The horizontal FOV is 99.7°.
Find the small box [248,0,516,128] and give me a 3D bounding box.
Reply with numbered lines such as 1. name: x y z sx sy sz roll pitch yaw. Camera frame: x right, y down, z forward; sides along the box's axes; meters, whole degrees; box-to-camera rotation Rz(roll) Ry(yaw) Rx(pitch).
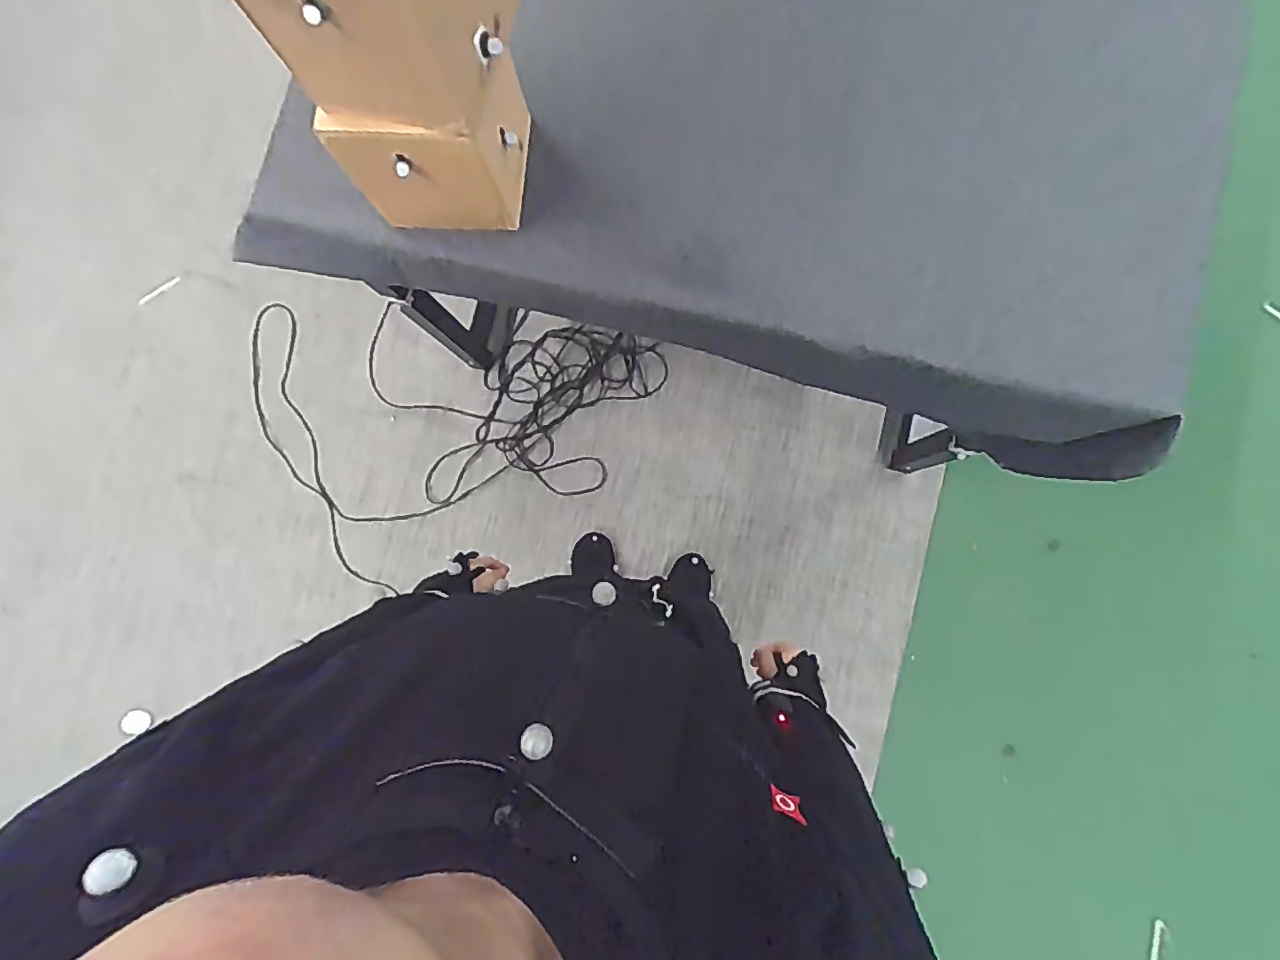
1. small box: -0.231 -0.451 0.476 0.179 0.176 0.168 13 85 4

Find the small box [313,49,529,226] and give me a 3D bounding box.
1. small box: -0.239 -0.422 0.636 0.179 0.176 0.168 4 83 4
